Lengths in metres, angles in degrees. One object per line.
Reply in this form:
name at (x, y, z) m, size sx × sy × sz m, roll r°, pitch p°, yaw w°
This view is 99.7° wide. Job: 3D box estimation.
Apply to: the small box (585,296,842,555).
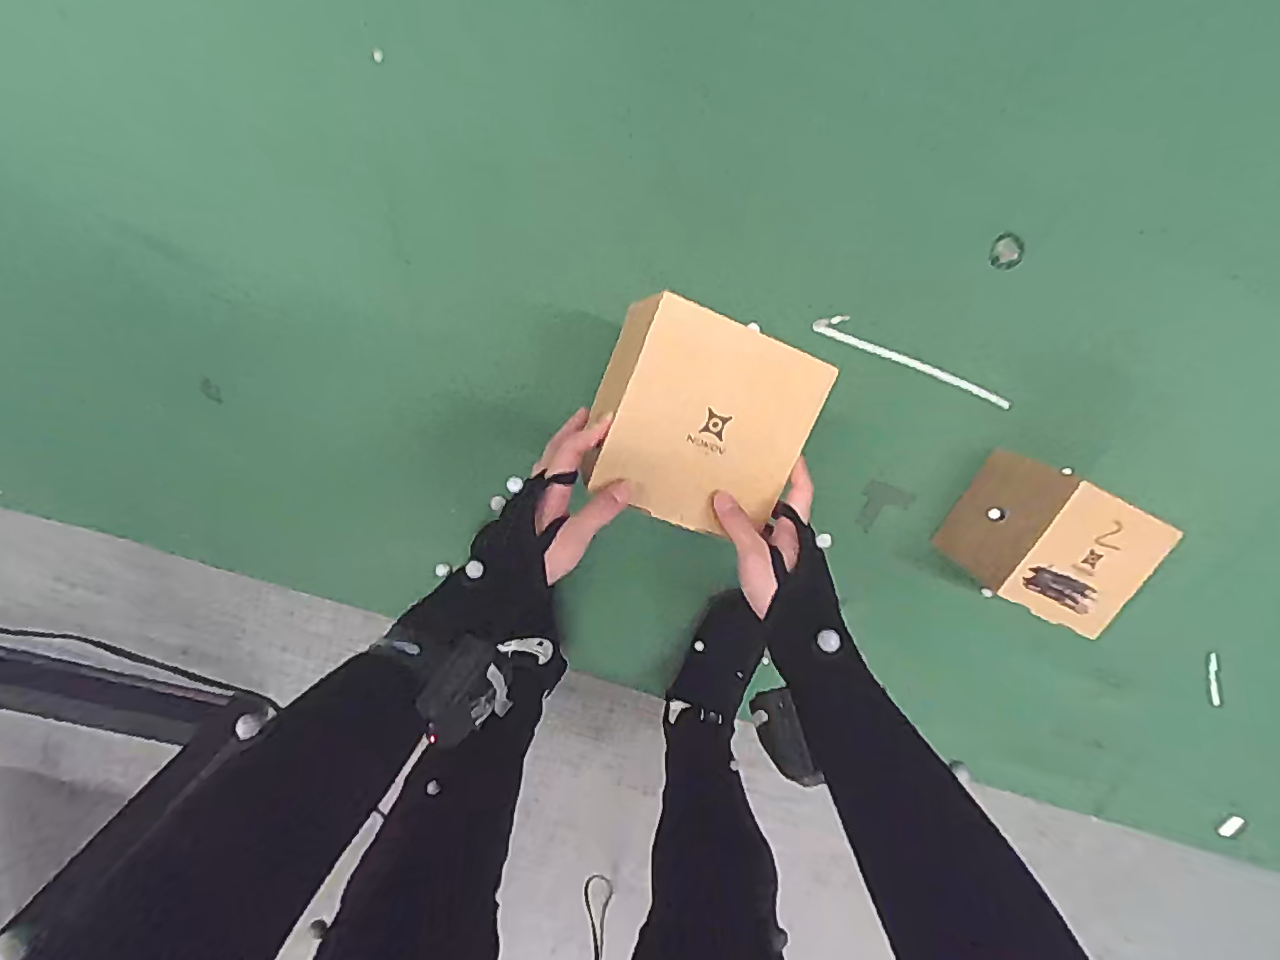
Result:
small box at (0.051, -0.058, 0.521) m, size 0.168 × 0.176 × 0.179 m, roll 19°, pitch 101°, yaw -14°
